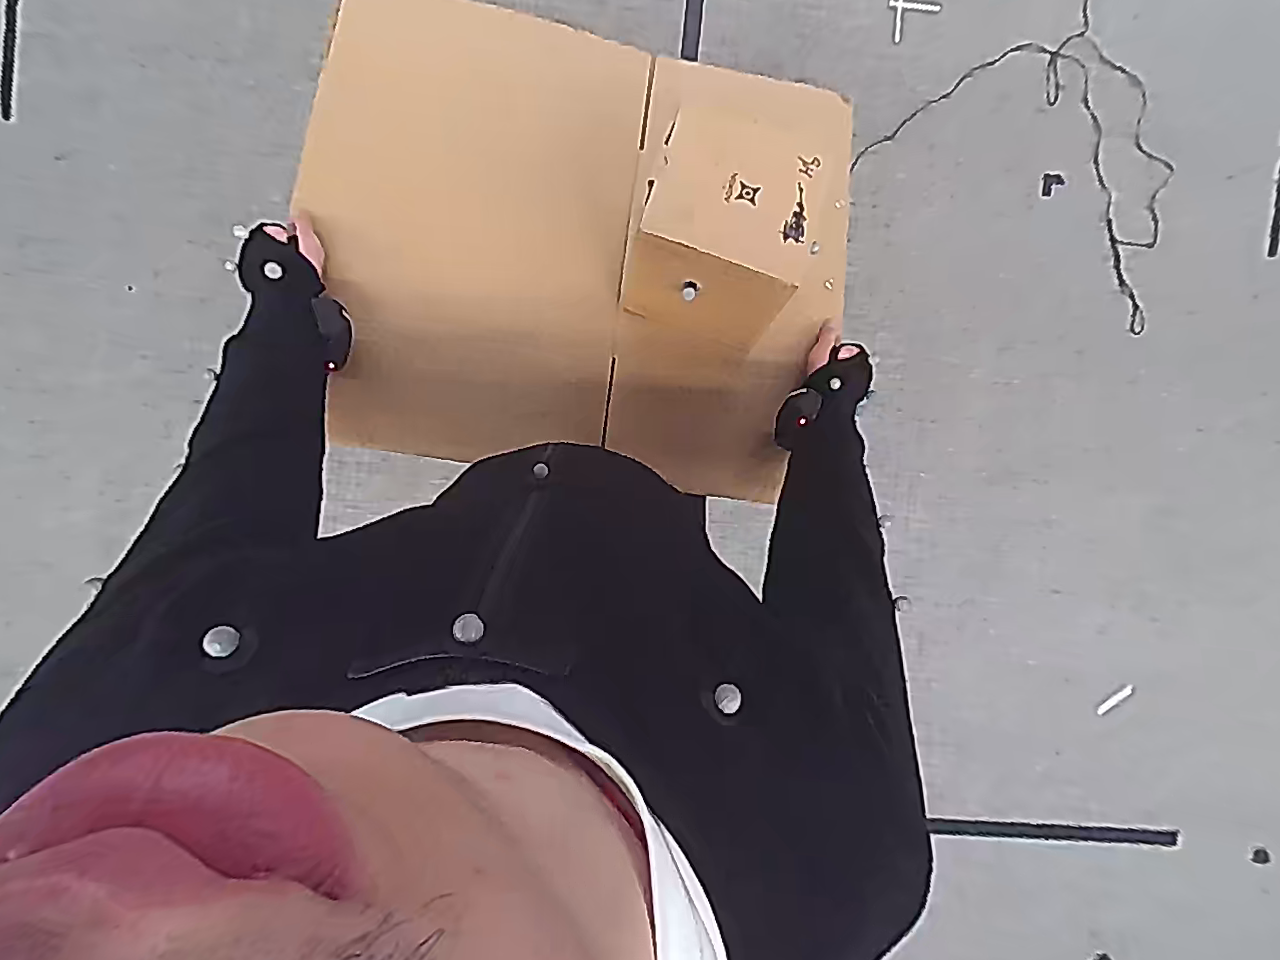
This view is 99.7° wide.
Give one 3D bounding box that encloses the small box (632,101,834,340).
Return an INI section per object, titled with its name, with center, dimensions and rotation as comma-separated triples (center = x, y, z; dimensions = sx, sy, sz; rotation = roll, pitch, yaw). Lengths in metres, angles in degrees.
[small box]
center = 0.096, -0.289, 0.640
dimensions = 0.179, 0.176, 0.168
rotation = 18, 80, -2
